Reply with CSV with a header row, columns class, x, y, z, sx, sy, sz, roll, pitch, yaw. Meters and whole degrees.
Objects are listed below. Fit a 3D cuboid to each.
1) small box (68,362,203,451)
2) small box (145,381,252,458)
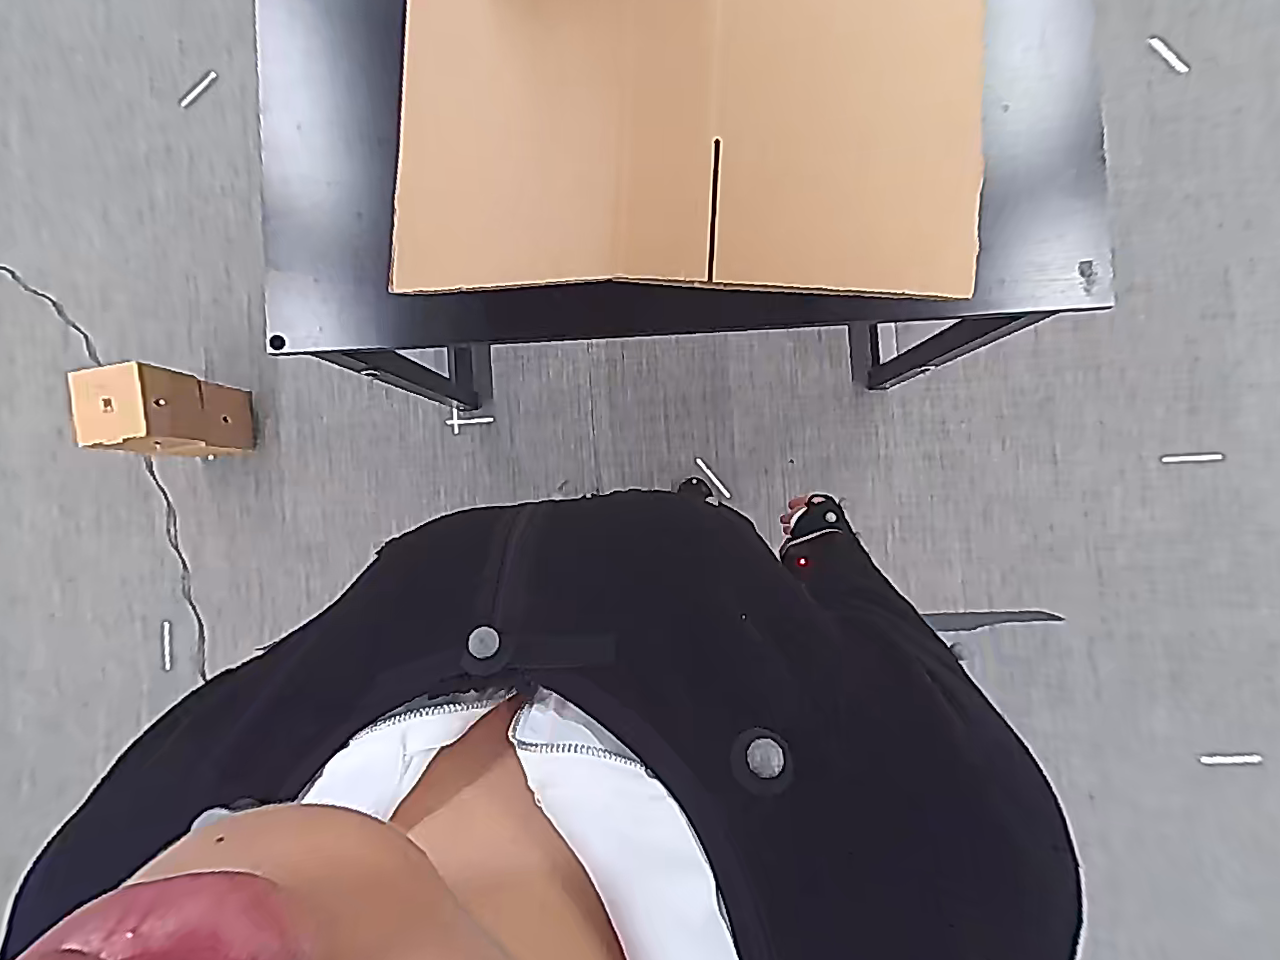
class,x,y,z,sx,sy,sz,roll,pitch,yaw
small box,-1.202,-0.168,1.302,0.168,0.176,0.179,-10,88,1
small box,-1.194,-0.159,1.464,0.168,0.176,0.179,-7,89,2
